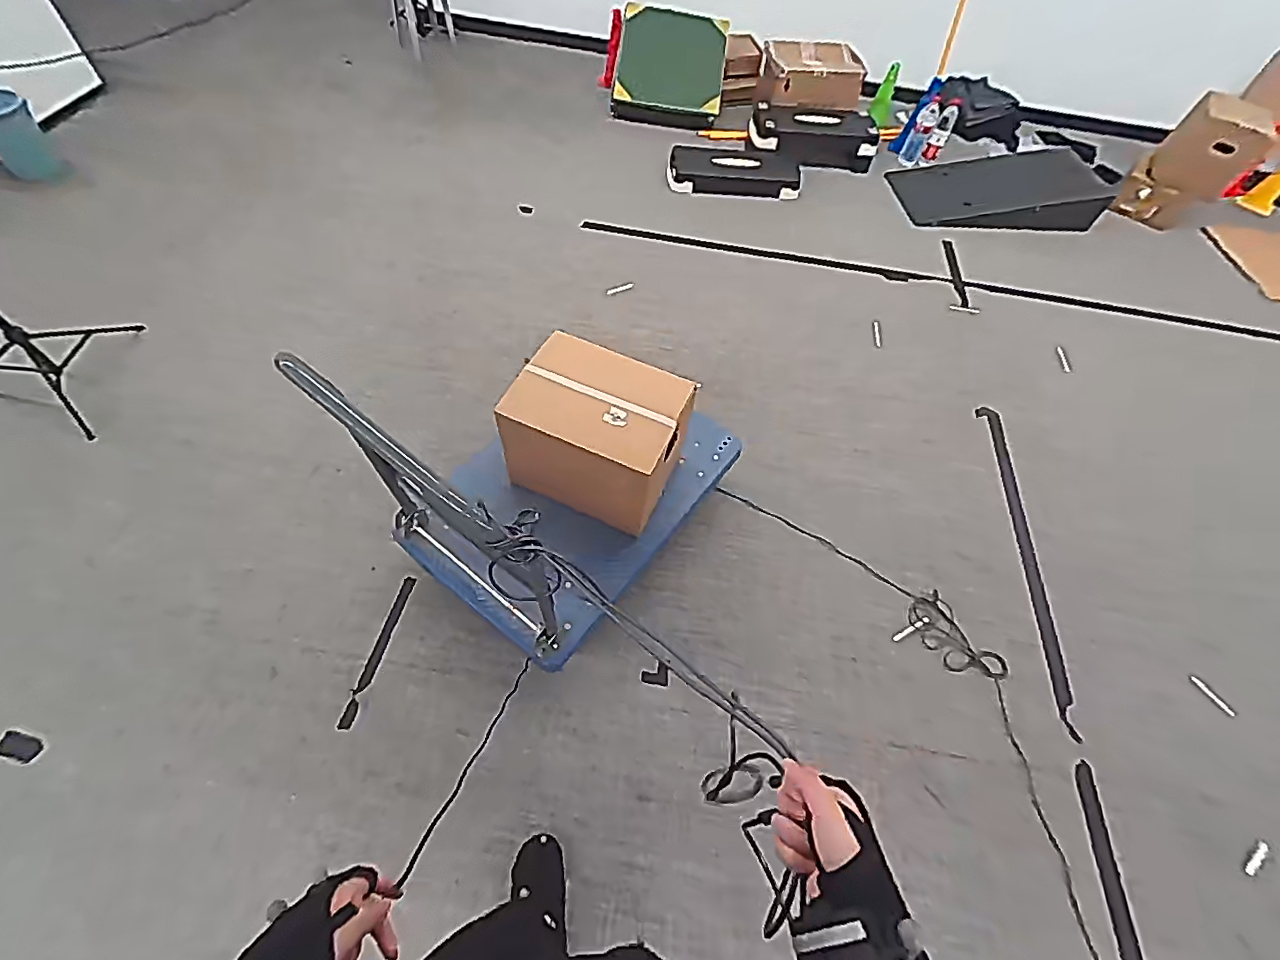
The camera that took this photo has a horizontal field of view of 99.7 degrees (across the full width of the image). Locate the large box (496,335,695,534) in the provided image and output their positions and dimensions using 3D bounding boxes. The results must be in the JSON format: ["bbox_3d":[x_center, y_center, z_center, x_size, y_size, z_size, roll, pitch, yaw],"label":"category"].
[{"bbox_3d":[-0.114,-0.115,1.434,0.408,0.320,0.320,23,59,8],"label":"large box"}]
